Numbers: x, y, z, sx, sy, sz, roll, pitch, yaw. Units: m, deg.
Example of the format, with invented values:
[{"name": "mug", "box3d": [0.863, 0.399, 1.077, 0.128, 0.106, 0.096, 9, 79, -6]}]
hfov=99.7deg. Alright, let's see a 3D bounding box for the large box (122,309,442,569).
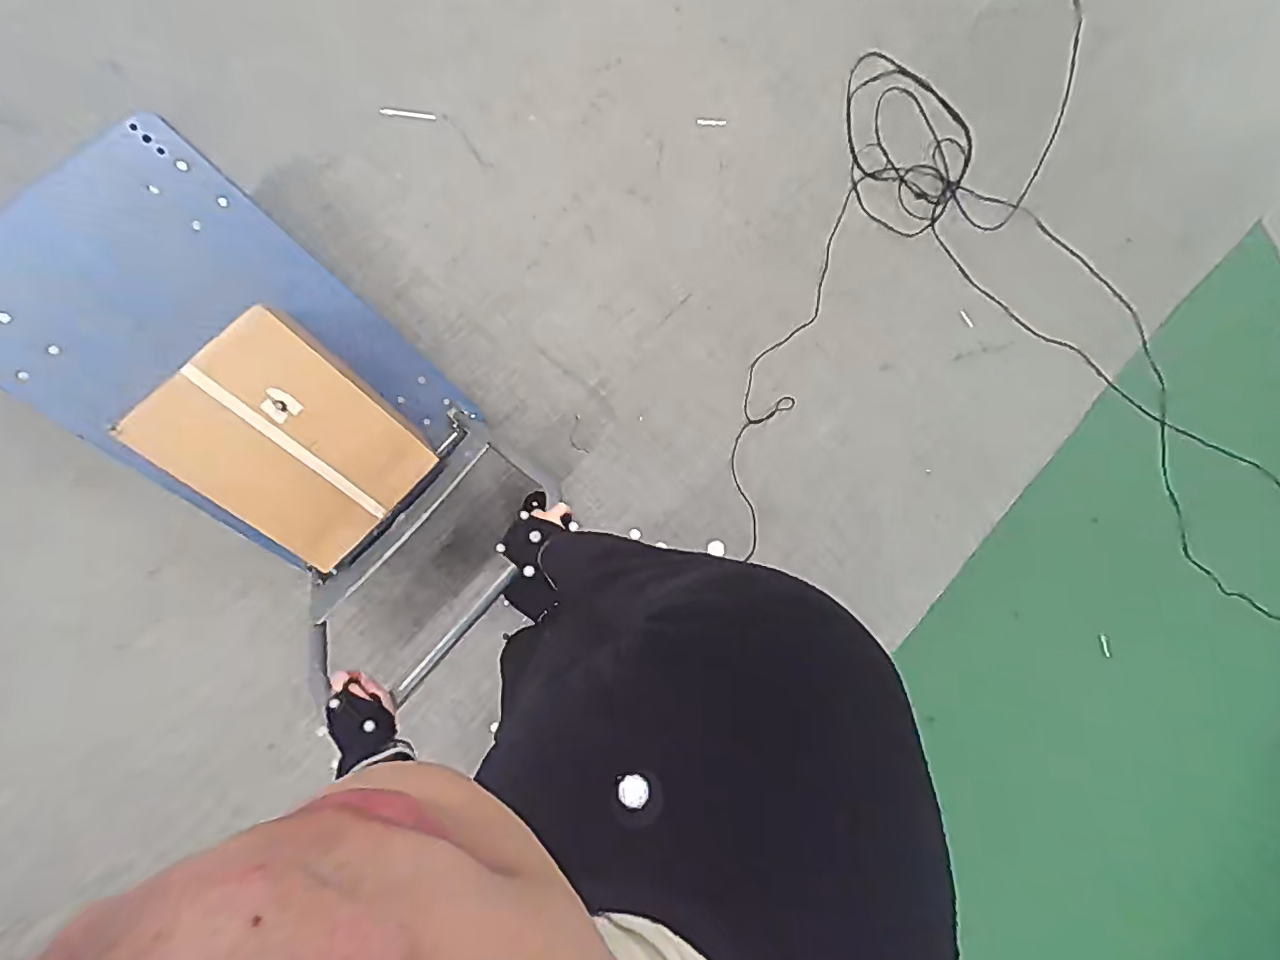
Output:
[{"name": "large box", "box3d": [-0.684, -0.092, 1.117, 0.320, 0.320, 0.408, -48, 118, -9]}]
